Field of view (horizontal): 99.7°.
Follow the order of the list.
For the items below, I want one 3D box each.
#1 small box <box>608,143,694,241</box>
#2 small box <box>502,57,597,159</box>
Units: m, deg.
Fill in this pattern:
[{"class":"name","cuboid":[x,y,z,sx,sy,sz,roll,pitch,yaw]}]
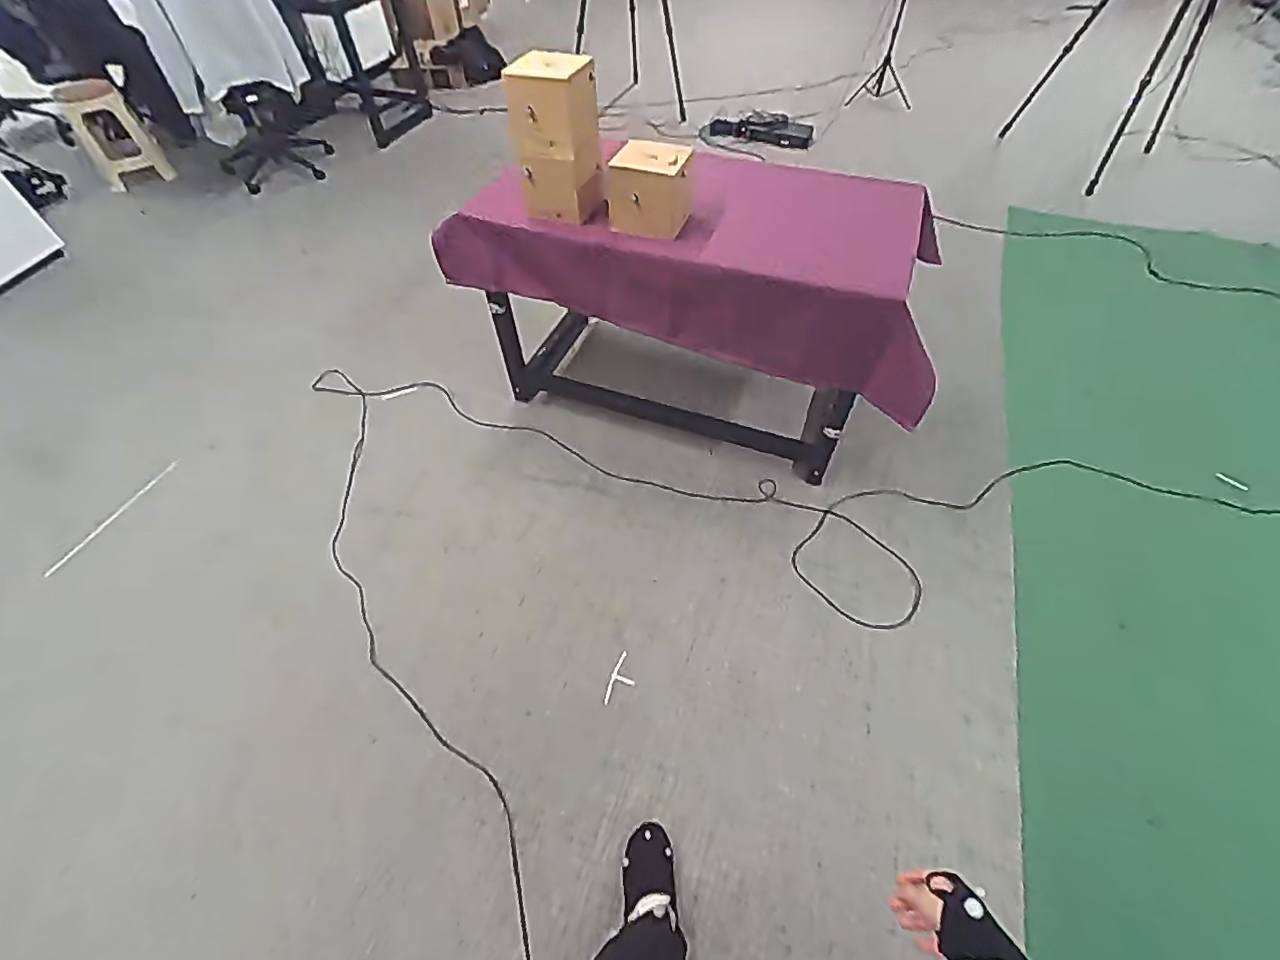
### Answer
[{"class":"small box","cuboid":[0.031,-0.743,1.398,0.179,0.176,0.168,15,54,14]},{"class":"small box","cuboid":[-0.213,-0.918,1.336,0.168,0.176,0.179,13,52,12]}]
